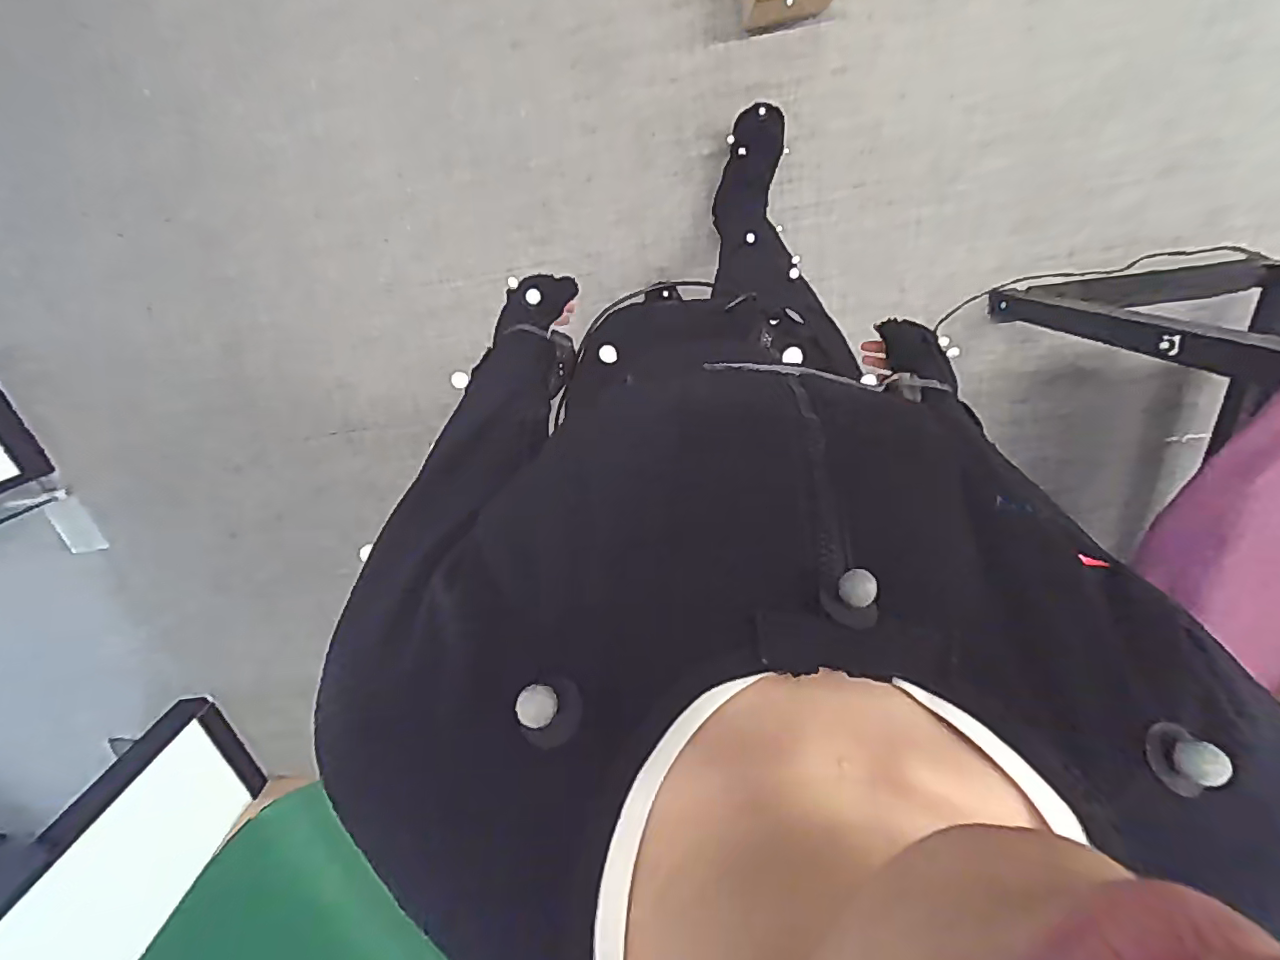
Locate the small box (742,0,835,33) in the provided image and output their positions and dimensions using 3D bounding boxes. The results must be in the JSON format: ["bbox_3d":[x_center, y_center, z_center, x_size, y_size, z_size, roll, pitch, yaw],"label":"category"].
[{"bbox_3d":[0.275,-0.968,0.989,0.168,0.176,0.179,-7,114,6],"label":"small box"}]
